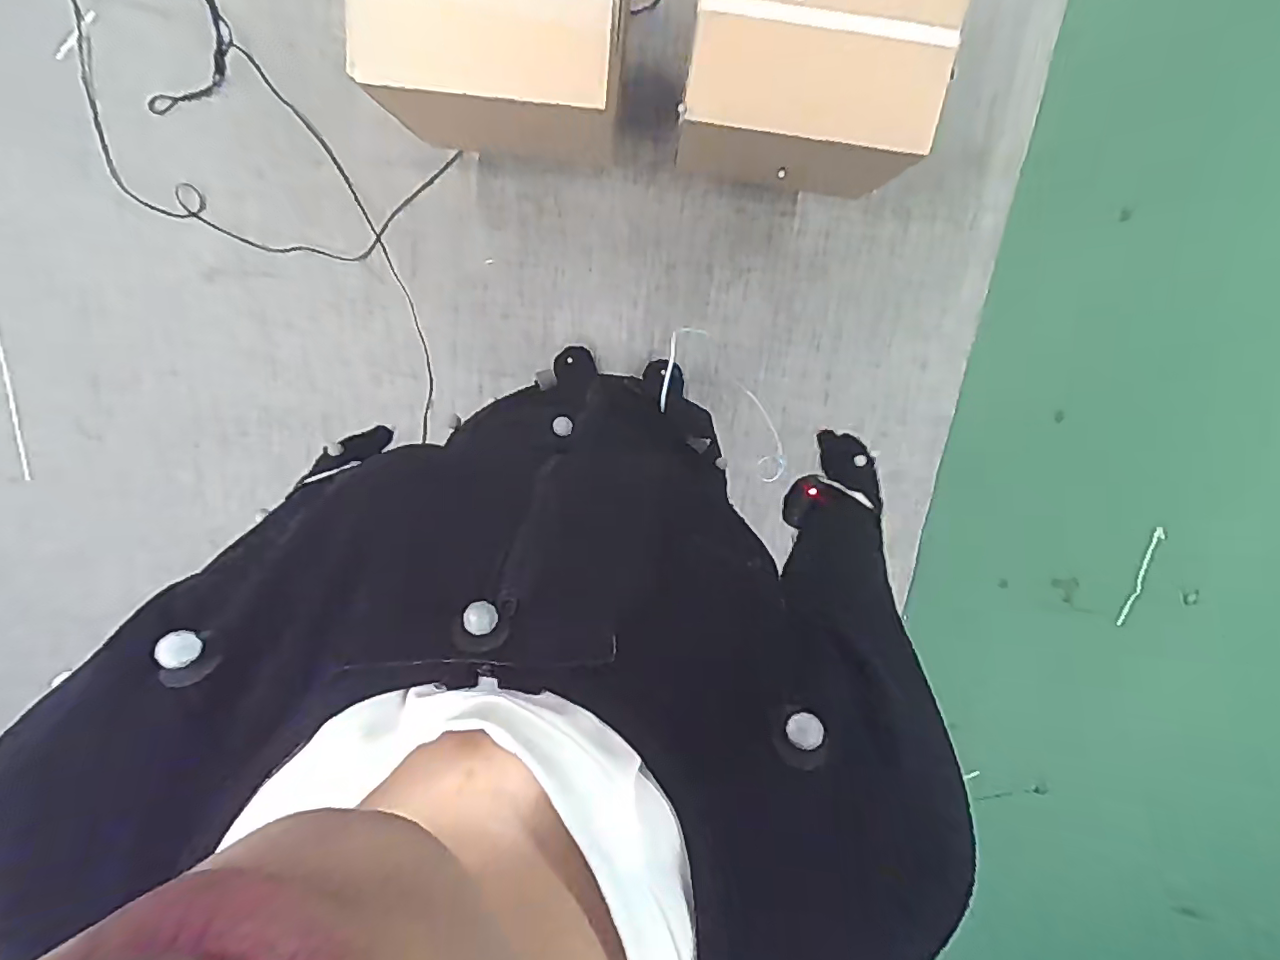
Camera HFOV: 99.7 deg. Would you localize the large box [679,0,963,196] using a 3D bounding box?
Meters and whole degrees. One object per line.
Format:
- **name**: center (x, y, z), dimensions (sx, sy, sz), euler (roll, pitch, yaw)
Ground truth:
- **large box**: center (0.297, -0.740, 0.988), dimensions (0.408, 0.320, 0.320), euler (8, 105, -1)
